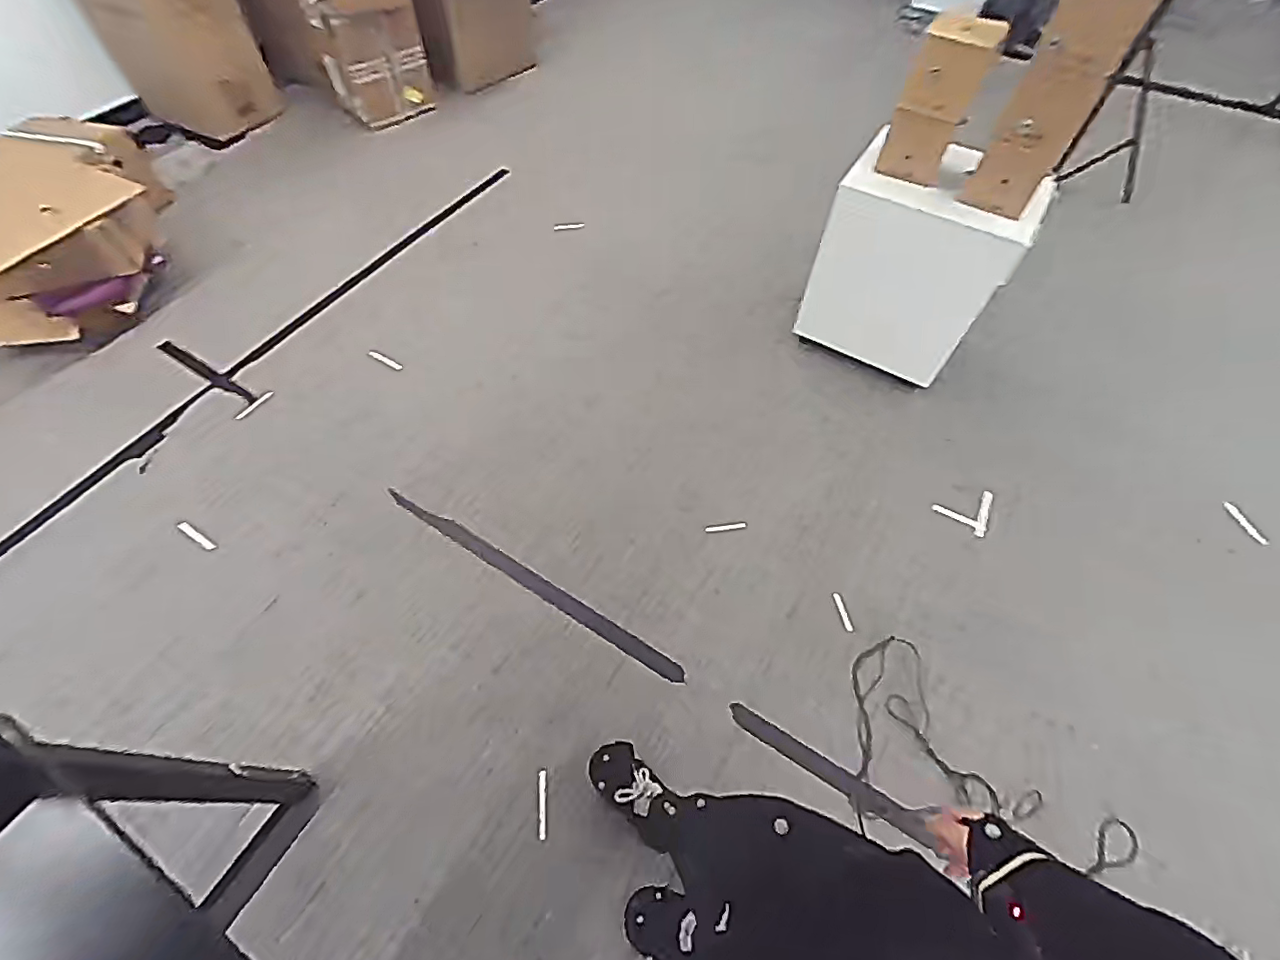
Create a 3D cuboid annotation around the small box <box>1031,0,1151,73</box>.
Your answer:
[{"bbox_3d":[0.987,-1.012,1.165,0.168,0.176,0.179,30,61,18],"label":"small box"}]

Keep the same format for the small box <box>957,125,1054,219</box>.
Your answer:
[{"bbox_3d":[0.980,-0.831,1.439,0.168,0.176,0.179,29,63,18],"label":"small box"}]

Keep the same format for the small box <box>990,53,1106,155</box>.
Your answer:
[{"bbox_3d":[0.986,-0.926,1.305,0.168,0.176,0.179,29,62,18],"label":"small box"}]

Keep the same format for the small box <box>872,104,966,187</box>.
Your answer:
[{"bbox_3d":[0.777,-0.965,1.518,0.168,0.176,0.179,26,62,15],"label":"small box"}]

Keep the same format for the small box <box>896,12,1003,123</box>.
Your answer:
[{"bbox_3d":[0.780,-1.047,1.378,0.168,0.176,0.179,27,61,15],"label":"small box"}]
